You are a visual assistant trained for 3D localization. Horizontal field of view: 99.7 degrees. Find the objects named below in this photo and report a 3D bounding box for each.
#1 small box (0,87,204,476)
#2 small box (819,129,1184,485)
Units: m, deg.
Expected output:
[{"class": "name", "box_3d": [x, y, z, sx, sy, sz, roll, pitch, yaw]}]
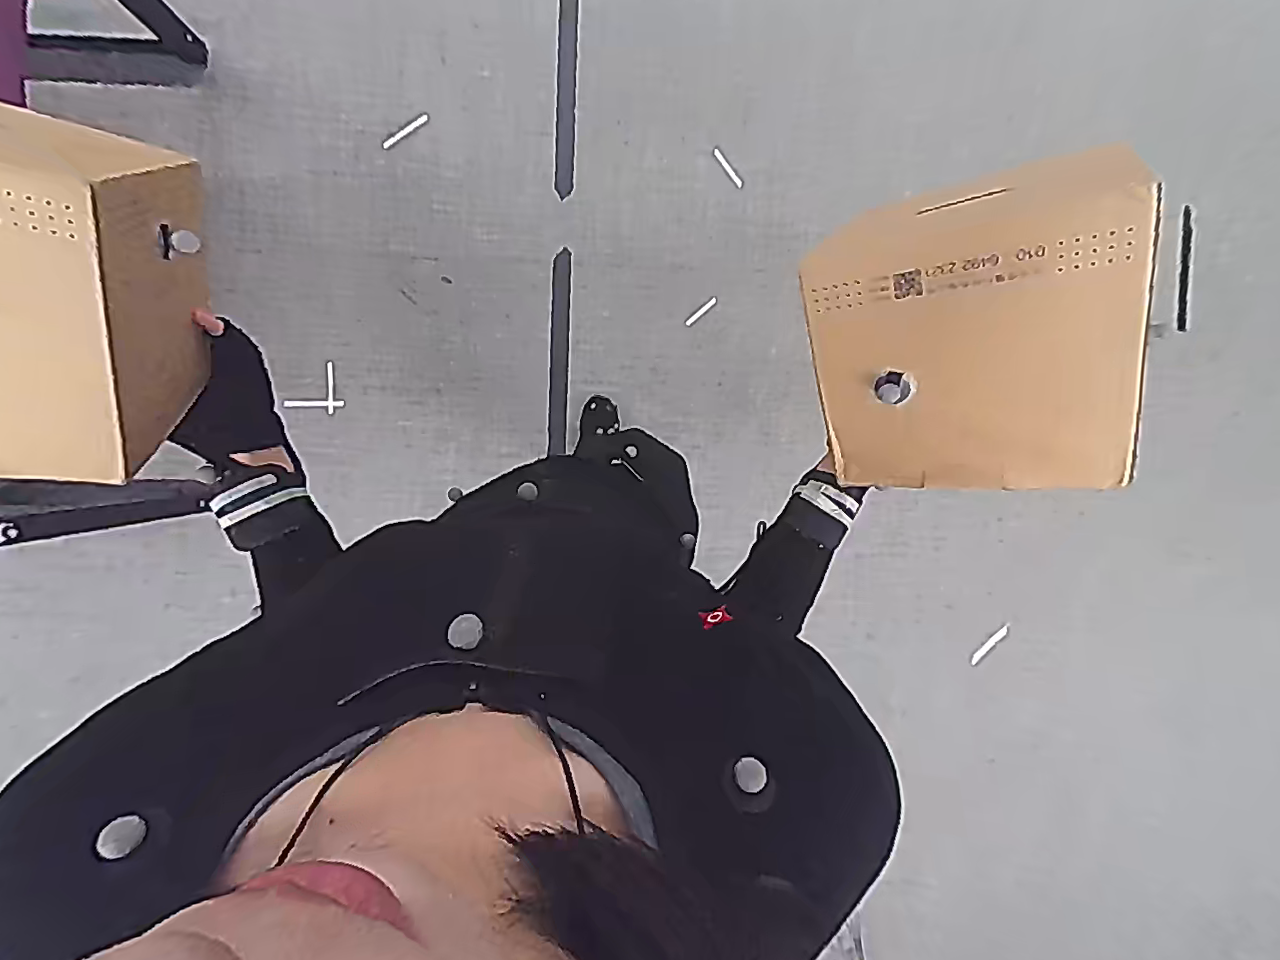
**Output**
[{"class": "small box", "box_3d": [-0.370, -0.122, 0.297, 0.168, 0.179, 0.176, 6, 118, -26]}, {"class": "small box", "box_3d": [0.232, -0.112, 0.365, 0.168, 0.179, 0.176, 2, 123, 35]}]
